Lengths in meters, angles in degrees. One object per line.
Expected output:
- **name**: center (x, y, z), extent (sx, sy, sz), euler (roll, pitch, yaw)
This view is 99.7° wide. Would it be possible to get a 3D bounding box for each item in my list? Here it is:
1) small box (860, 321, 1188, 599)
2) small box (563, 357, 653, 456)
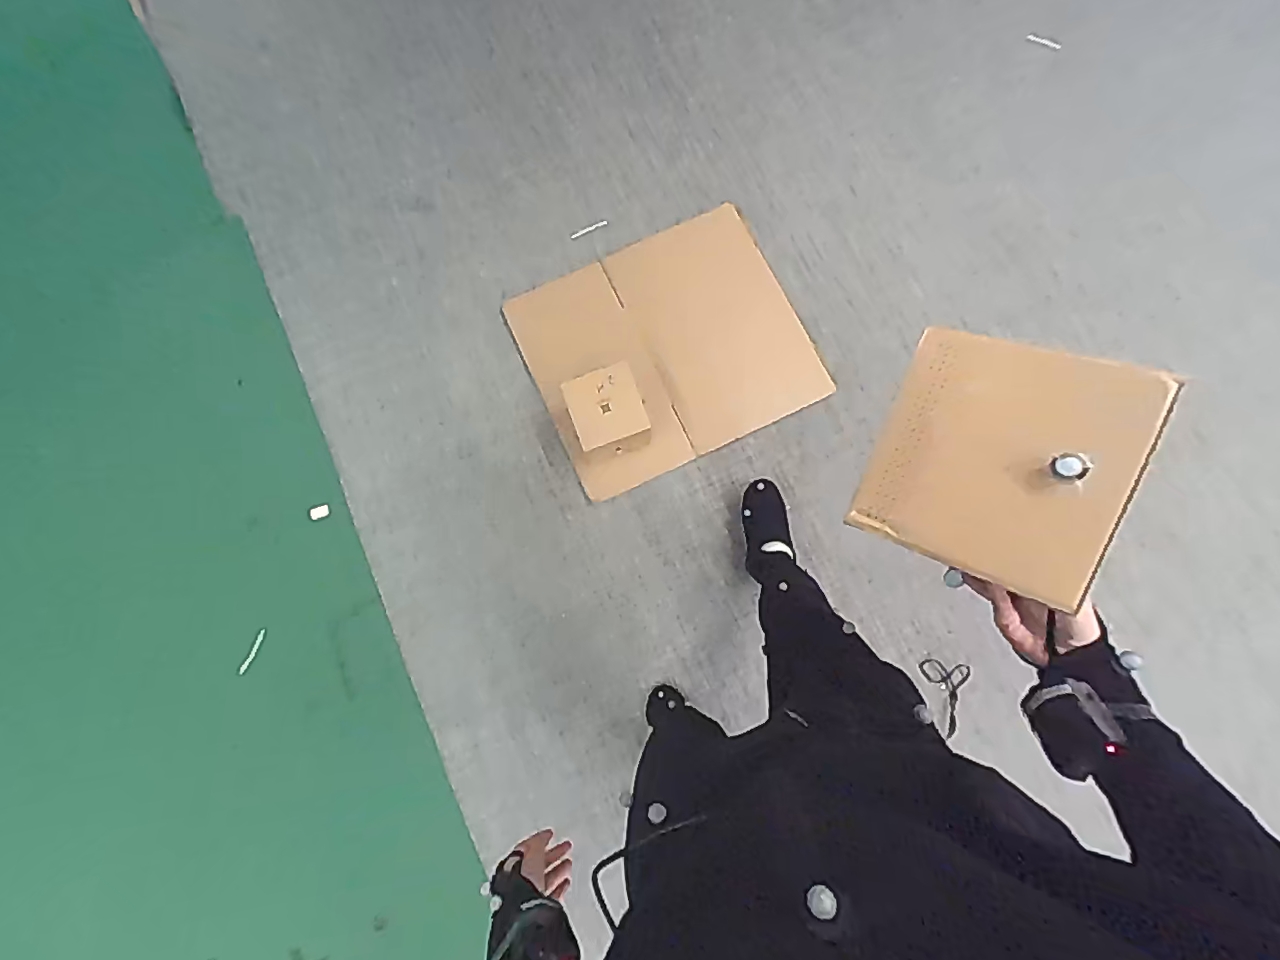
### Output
- **small box**: center (0.305, -0.016, 0.468), extent (0.176, 0.168, 0.179), euler (23, 95, 32)
- **small box**: center (-0.071, -0.166, 1.306), extent (0.168, 0.176, 0.179), euler (-20, 81, -2)
